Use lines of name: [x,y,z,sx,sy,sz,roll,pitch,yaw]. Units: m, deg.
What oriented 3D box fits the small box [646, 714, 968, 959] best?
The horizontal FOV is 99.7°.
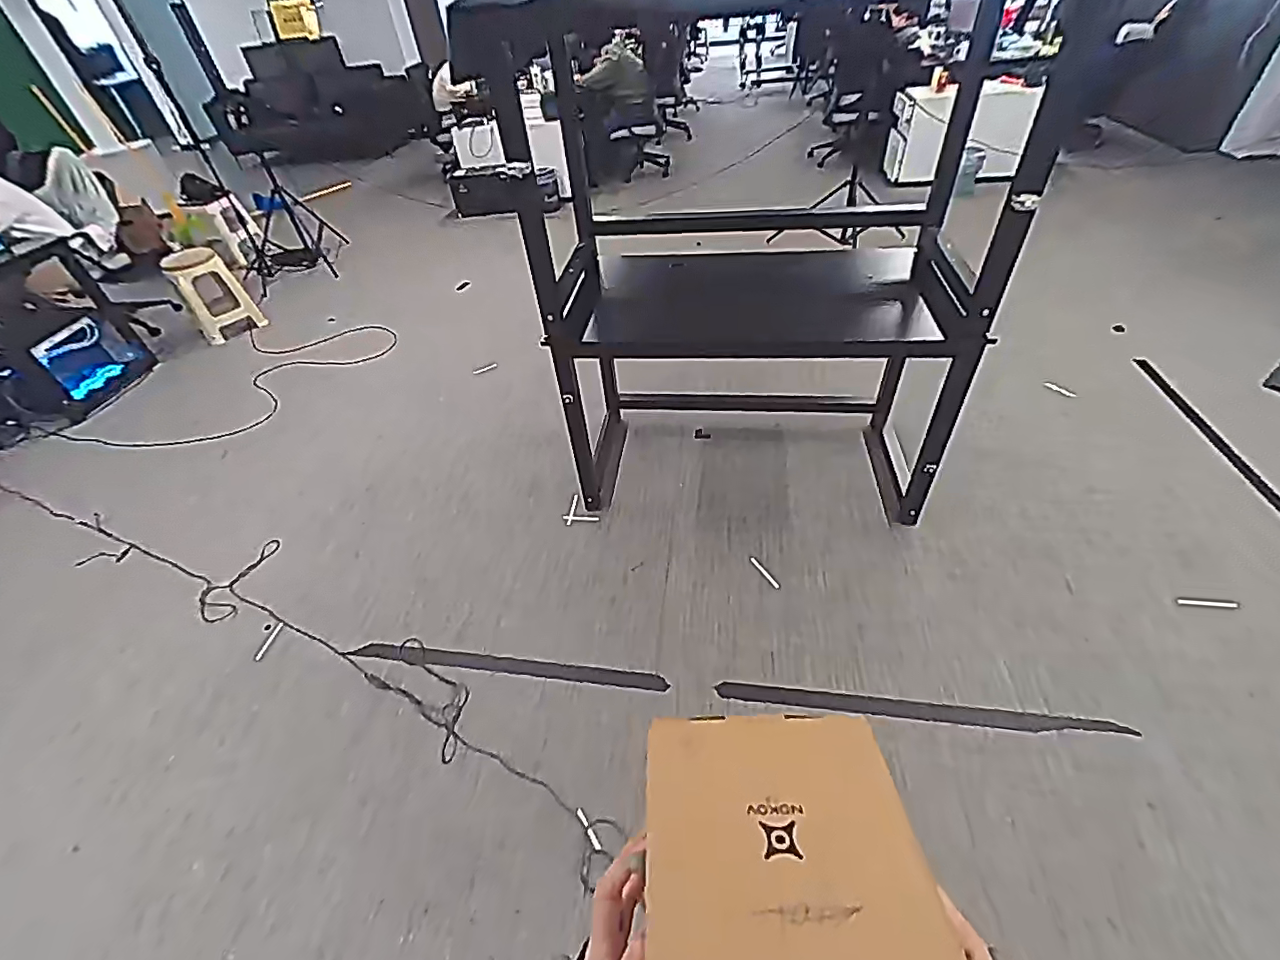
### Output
small box: [0.090,0.289,0.369,0.168,0.176,0.179,-3,27,2]
